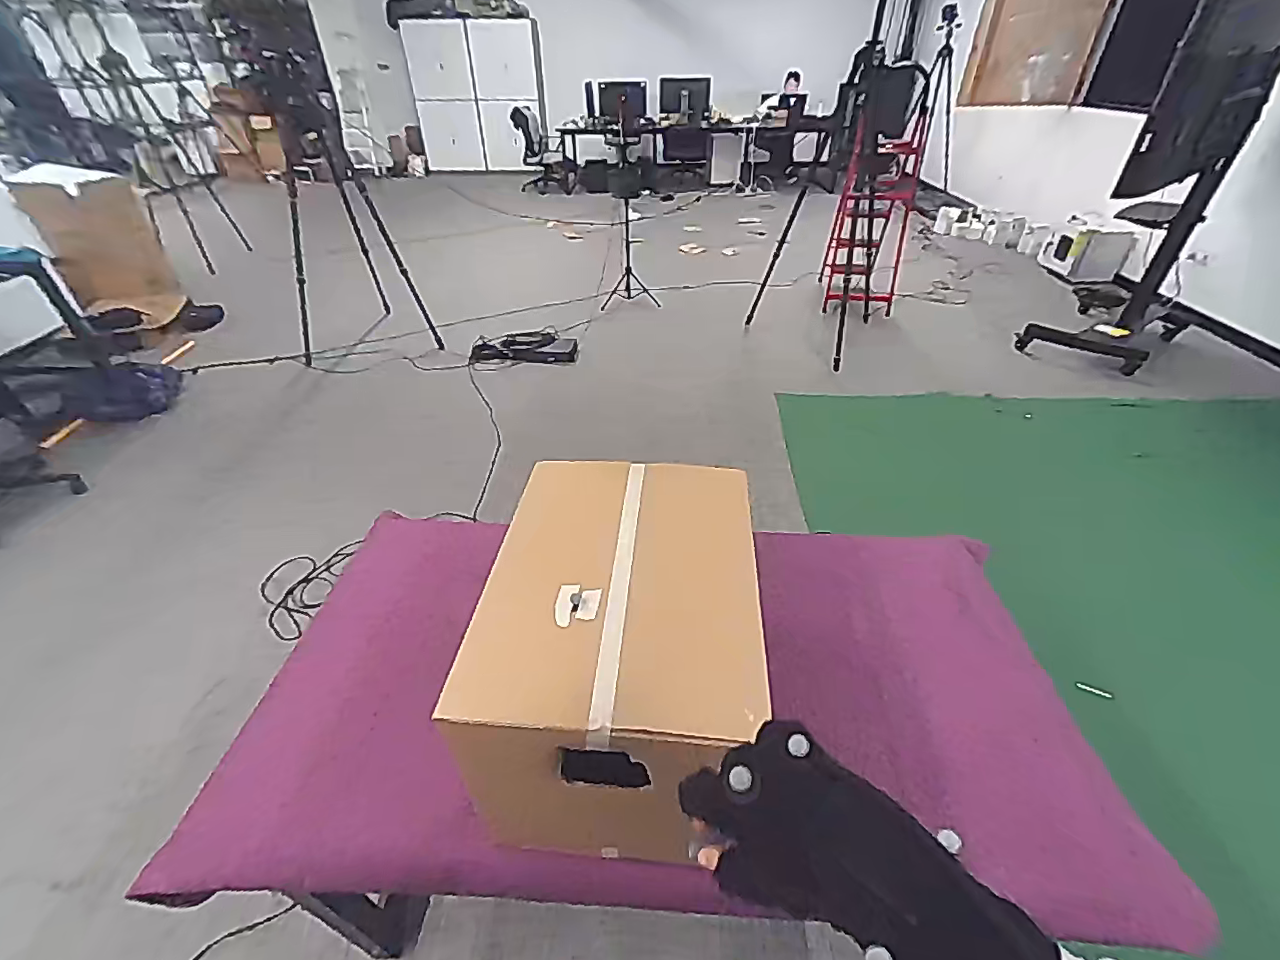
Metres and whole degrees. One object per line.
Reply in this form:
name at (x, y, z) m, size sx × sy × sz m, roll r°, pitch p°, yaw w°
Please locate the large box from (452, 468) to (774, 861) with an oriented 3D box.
large box at (-0.016, 0.230, 0.747) m, size 0.320 × 0.320 × 0.408 m, roll 3°, pitch 39°, yaw 4°
